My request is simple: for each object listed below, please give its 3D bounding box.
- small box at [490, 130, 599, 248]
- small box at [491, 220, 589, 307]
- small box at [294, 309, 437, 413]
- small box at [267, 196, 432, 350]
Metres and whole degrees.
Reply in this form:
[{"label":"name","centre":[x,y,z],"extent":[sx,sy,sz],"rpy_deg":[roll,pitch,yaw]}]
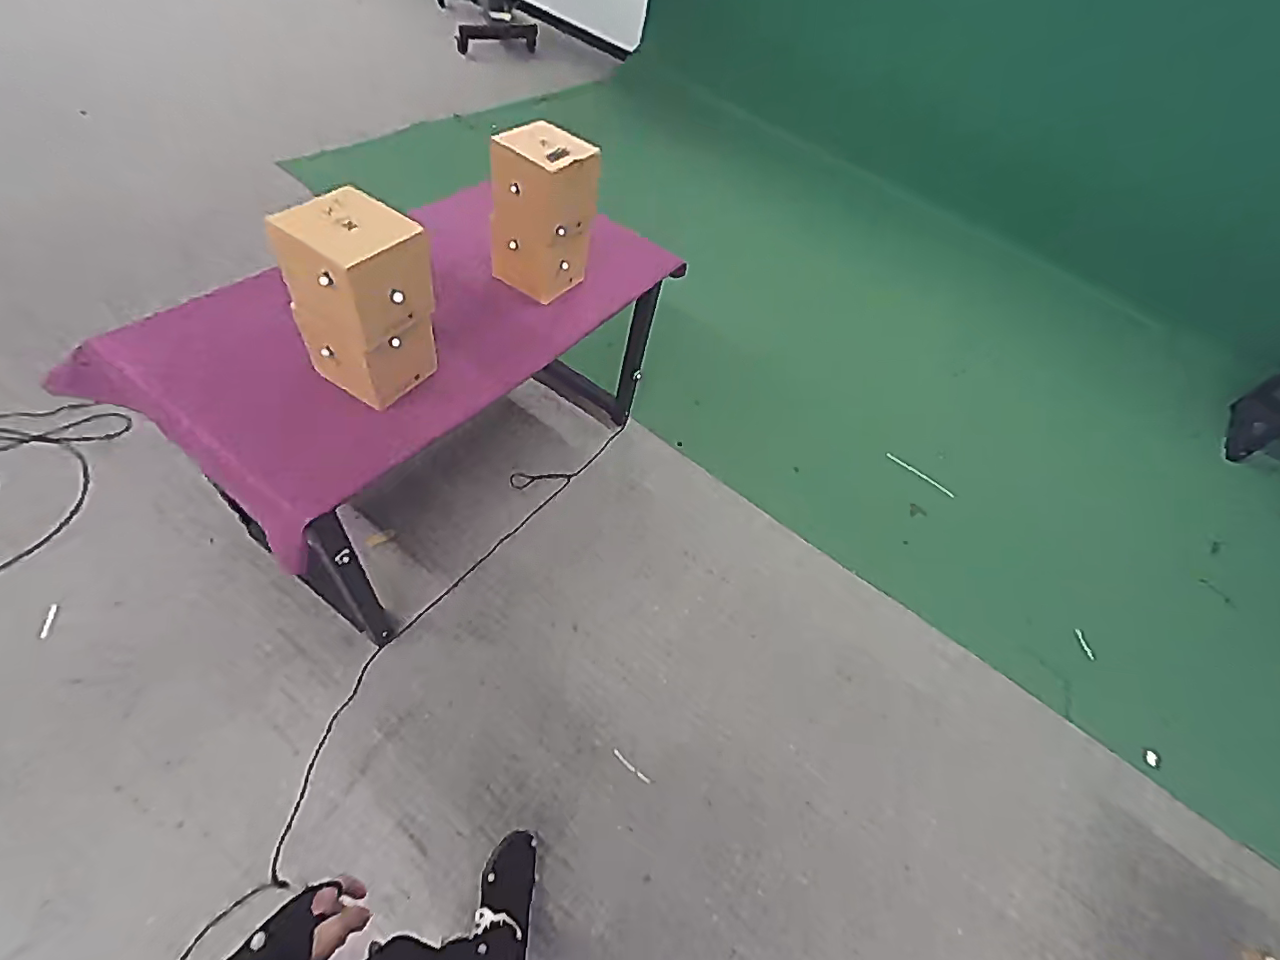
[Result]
[{"label":"small box","centre":[-0.214,-0.652,1.224],"extent":[0.179,0.176,0.168],"rpy_deg":[35,55,16]},{"label":"small box","centre":[-0.248,-0.561,1.357],"extent":[0.179,0.176,0.168],"rpy_deg":[33,55,13]},{"label":"small box","centre":[-0.534,-0.265,1.076],"extent":[0.179,0.176,0.168],"rpy_deg":[30,54,10]},{"label":"small box","centre":[-0.489,-0.352,0.942],"extent":[0.179,0.176,0.168],"rpy_deg":[31,53,10]}]
